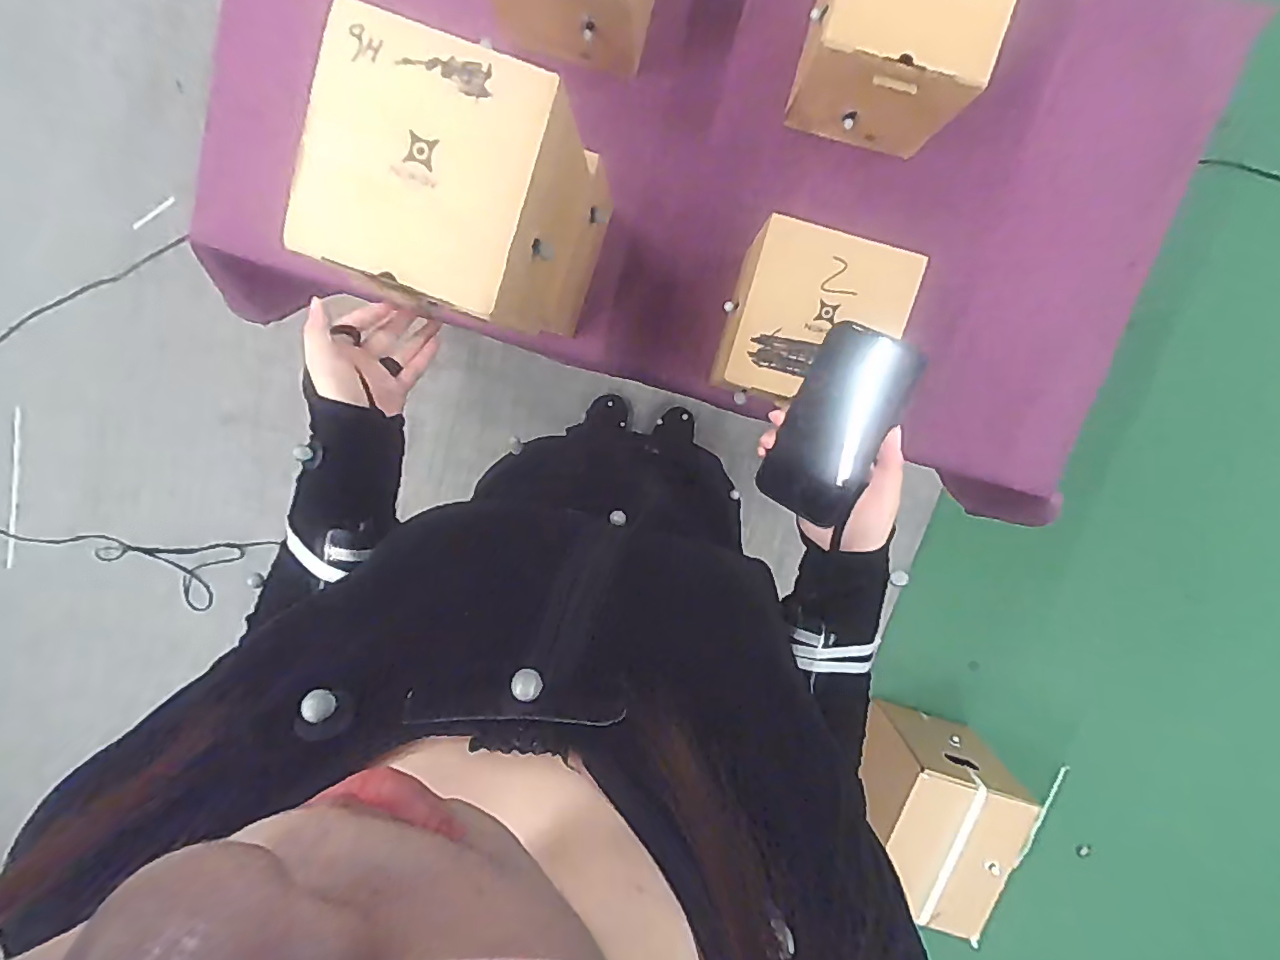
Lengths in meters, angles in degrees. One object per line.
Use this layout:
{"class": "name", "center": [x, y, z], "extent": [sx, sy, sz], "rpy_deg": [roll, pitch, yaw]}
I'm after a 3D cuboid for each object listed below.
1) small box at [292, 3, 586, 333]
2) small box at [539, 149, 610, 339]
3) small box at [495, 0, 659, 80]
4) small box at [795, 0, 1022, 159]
{"class": "small box", "center": [-0.154, -0.238, 0.469], "extent": [0.168, 0.176, 0.179], "rpy_deg": [19, 101, -2]}
{"class": "small box", "center": [-0.138, -0.279, 0.628], "extent": [0.168, 0.176, 0.179], "rpy_deg": [20, 99, -1]}
{"class": "small box", "center": [-0.060, -0.577, 0.575], "extent": [0.168, 0.176, 0.179], "rpy_deg": [17, 100, -2]}
{"class": "small box", "center": [0.280, -0.485, 0.579], "extent": [0.168, 0.176, 0.179], "rpy_deg": [14, 99, 1]}
